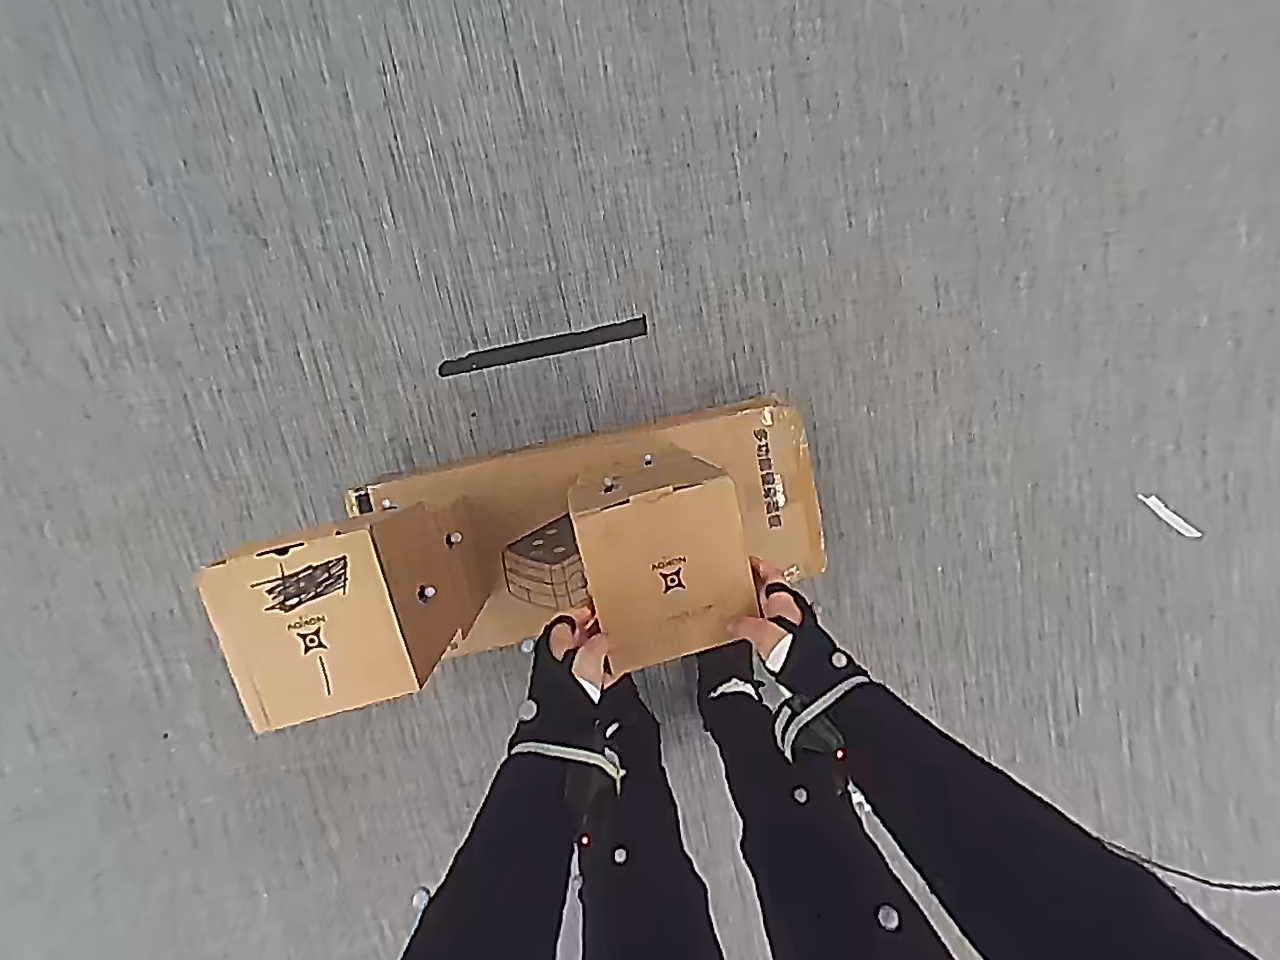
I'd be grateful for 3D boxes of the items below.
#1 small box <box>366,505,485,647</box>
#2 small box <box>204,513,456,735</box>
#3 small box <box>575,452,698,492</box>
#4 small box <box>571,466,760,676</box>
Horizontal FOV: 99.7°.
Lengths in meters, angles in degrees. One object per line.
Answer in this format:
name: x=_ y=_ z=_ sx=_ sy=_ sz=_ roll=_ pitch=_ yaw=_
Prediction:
small box: x=-0.332 y=0.138 z=0.769 sx=0.168 sy=0.176 sz=0.179 roll=-12 pitch=97 yaw=-3
small box: x=-0.323 y=0.141 z=0.605 sx=0.168 sy=0.176 sz=0.179 roll=-14 pitch=98 yaw=-4
small box: x=0.009 y=0.066 z=0.792 sx=0.168 sy=0.176 sz=0.179 roll=-15 pitch=98 yaw=-3
small box: x=0.019 y=0.087 z=0.622 sx=0.168 sy=0.176 sz=0.179 roll=-15 pitch=102 yaw=-4
